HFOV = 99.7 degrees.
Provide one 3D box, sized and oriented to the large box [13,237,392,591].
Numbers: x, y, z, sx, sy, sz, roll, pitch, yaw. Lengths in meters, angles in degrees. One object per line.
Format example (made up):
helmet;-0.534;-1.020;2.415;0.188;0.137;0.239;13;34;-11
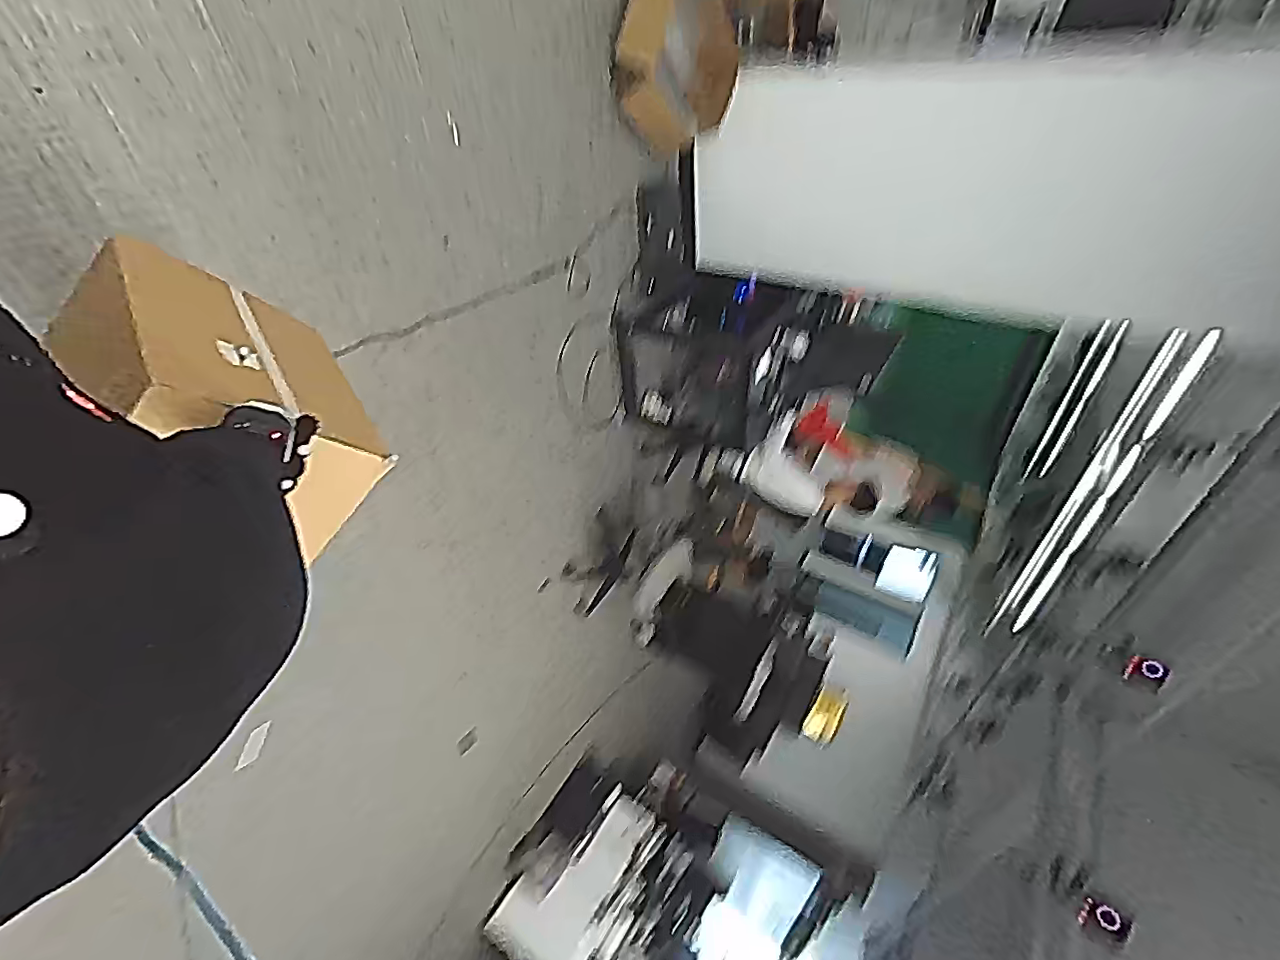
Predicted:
large box;-0.680;-0.084;0.846;0.320;0.408;0.320;-47;151;10
